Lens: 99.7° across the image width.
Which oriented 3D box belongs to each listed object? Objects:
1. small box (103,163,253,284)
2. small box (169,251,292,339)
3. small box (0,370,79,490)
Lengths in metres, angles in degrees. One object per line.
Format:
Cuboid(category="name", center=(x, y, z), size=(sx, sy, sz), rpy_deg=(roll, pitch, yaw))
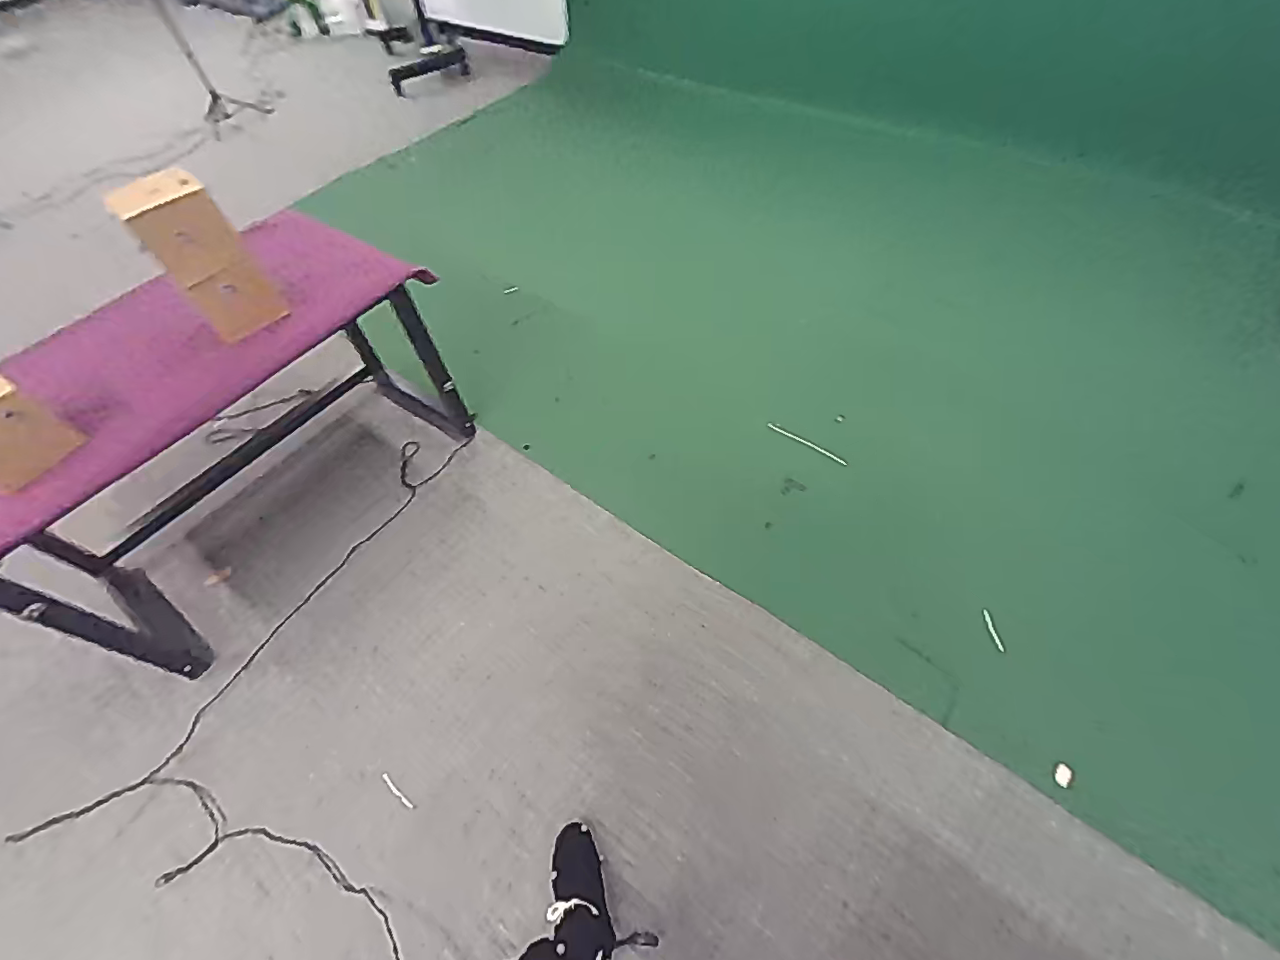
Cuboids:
Cuboid(category="small box", center=(-1.044, -0.582, 1.235), size=(0.168, 0.176, 0.179), rpy_deg=(38, 67, 25))
Cuboid(category="small box", center=(-1.034, -0.489, 1.369), size=(0.179, 0.176, 0.168), rpy_deg=(-38, 61, -20))
Cuboid(category="small box", center=(-1.348, -0.113, 1.130), size=(0.168, 0.176, 0.179), rpy_deg=(25, 61, 21))
